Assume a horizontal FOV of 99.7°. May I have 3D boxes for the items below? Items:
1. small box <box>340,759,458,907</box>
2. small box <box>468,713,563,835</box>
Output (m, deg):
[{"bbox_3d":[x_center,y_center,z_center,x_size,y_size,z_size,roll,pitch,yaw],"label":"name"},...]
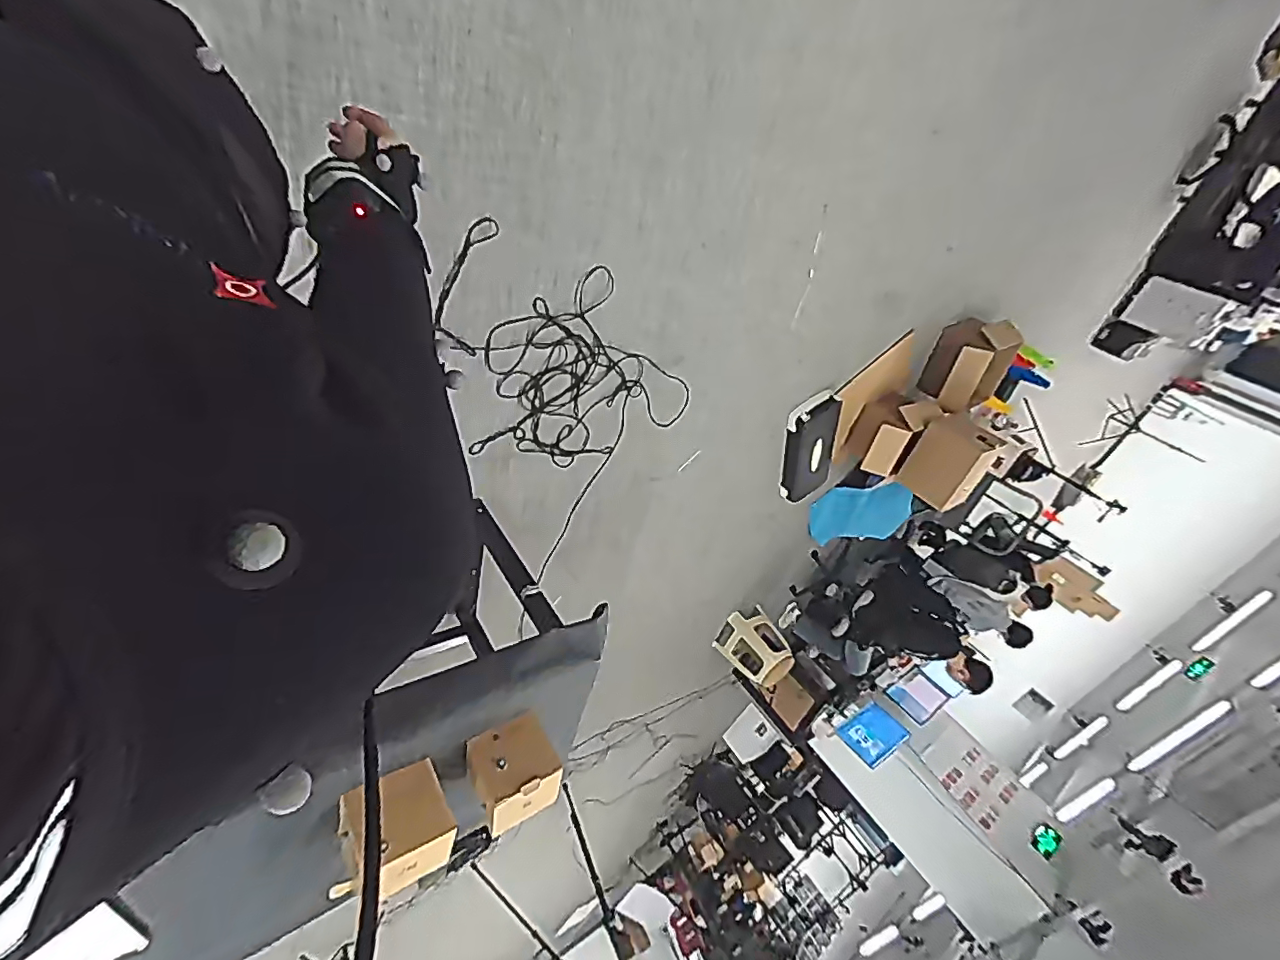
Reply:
[{"bbox_3d":[-0.503,0.719,1.122,0.179,0.176,0.168,-8,131,-39],"label":"small box"},{"bbox_3d":[-0.301,0.684,1.280,0.168,0.176,0.179,-15,136,-32],"label":"small box"}]
